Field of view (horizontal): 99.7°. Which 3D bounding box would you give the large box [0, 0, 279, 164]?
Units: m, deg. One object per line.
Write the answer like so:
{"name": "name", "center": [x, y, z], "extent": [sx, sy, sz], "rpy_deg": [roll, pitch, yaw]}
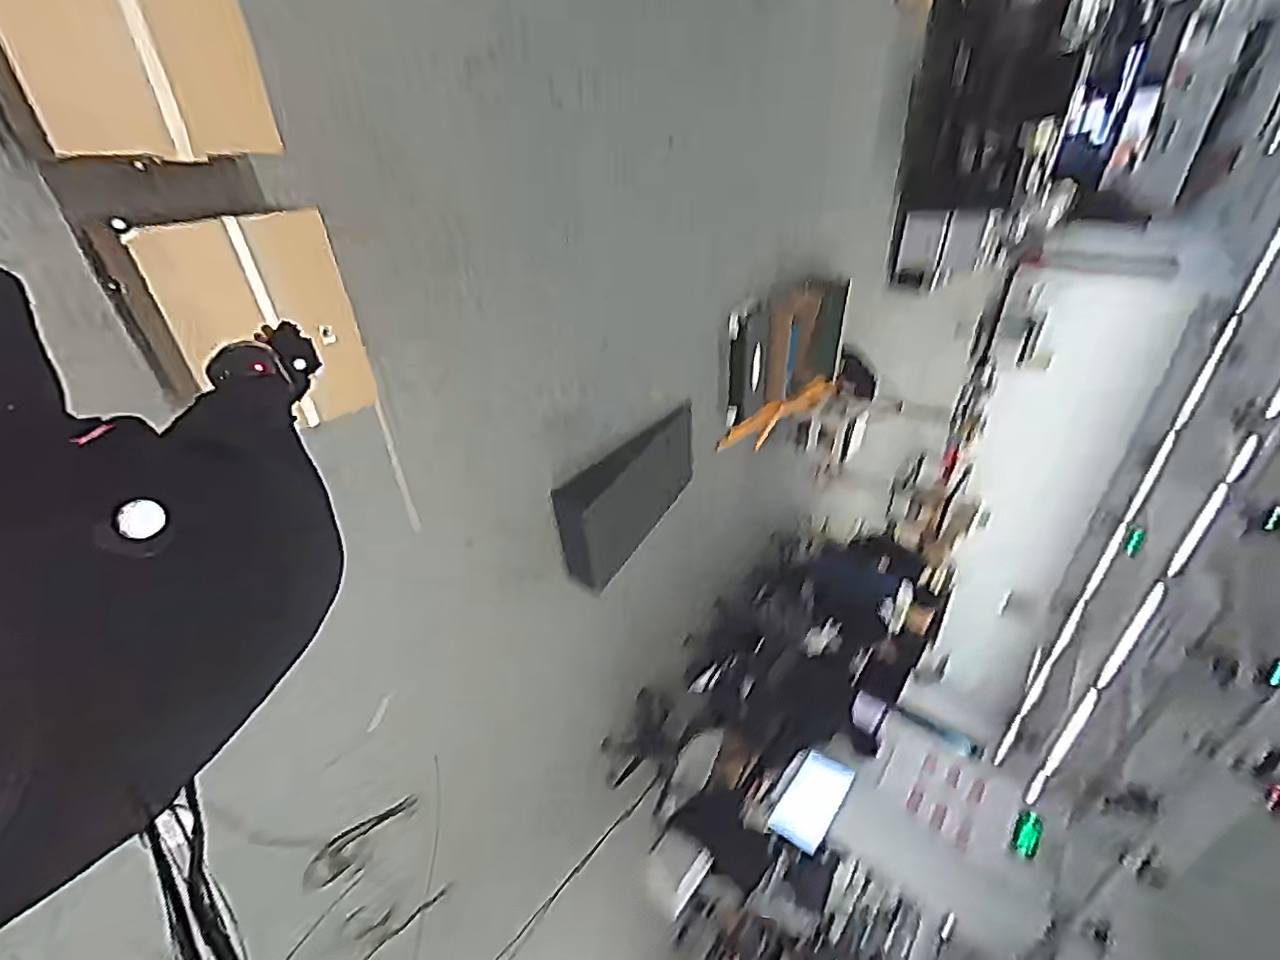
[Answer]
{"name": "large box", "center": [-0.858, -0.740, 0.854], "extent": [0.320, 0.320, 0.408], "rpy_deg": [-31, 130, -42]}
